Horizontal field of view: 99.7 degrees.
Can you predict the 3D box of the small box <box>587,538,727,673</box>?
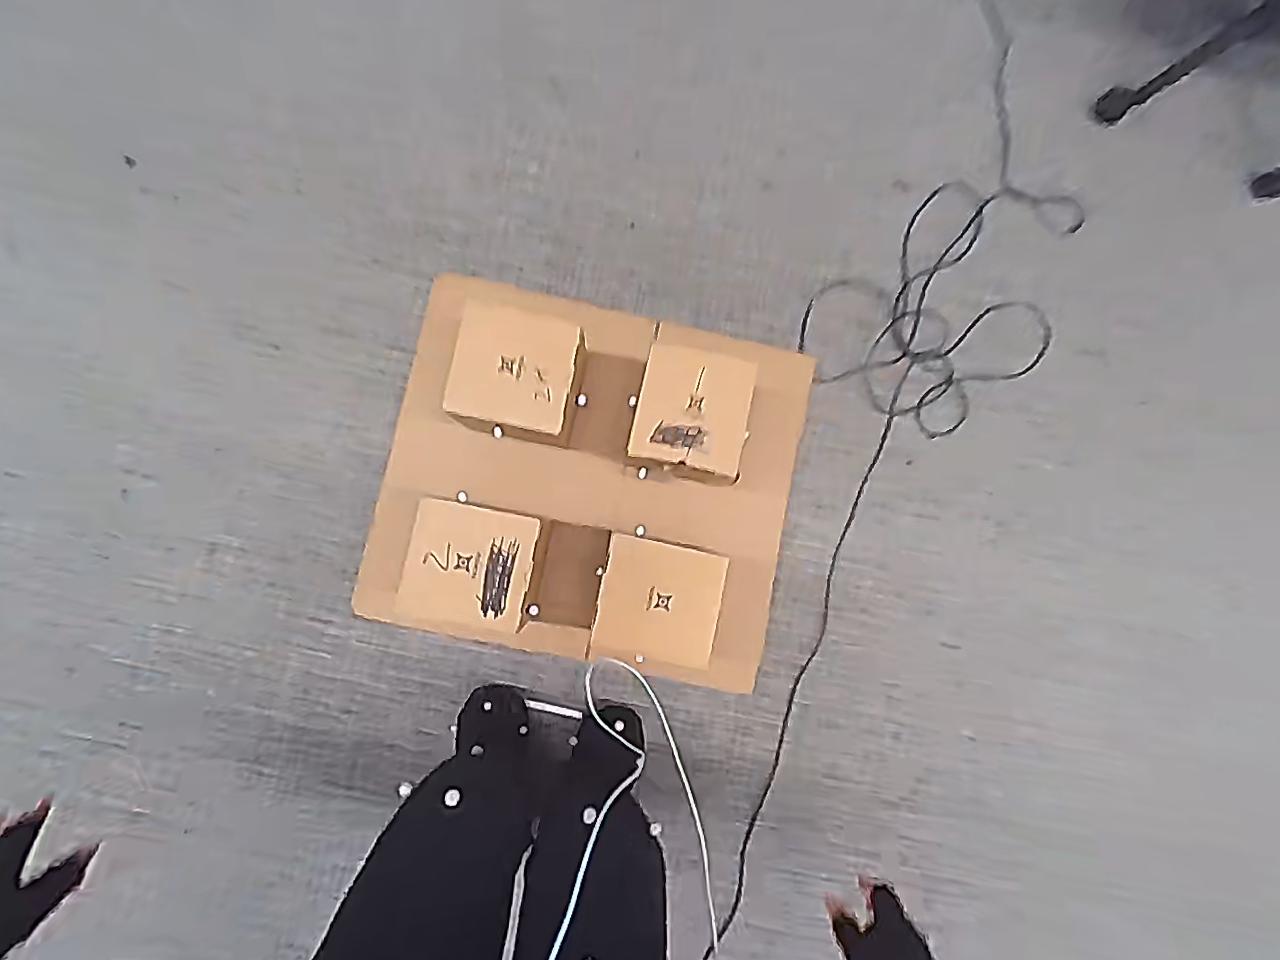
[{"bbox_3d":[0.024,0.187,0.860,0.179,0.176,0.168,13,84,0],"label":"small box"}]
